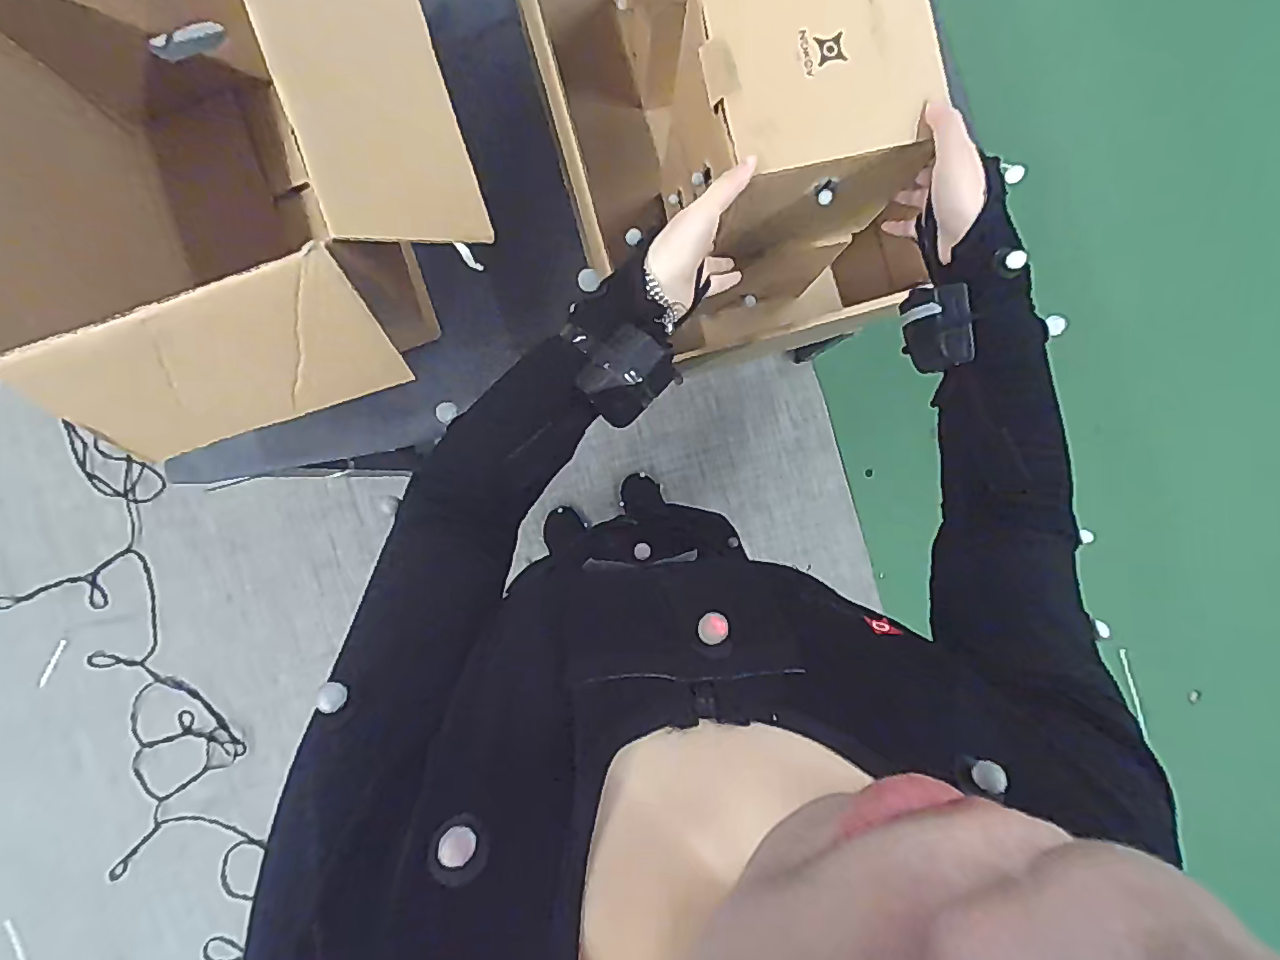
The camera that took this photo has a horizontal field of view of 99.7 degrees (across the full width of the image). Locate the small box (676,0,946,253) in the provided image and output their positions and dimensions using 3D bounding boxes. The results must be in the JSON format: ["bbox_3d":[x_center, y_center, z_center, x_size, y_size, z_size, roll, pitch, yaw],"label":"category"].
[{"bbox_3d":[0.136,-0.331,0.498,0.179,0.176,0.168,-13,92,-3],"label":"small box"}]
